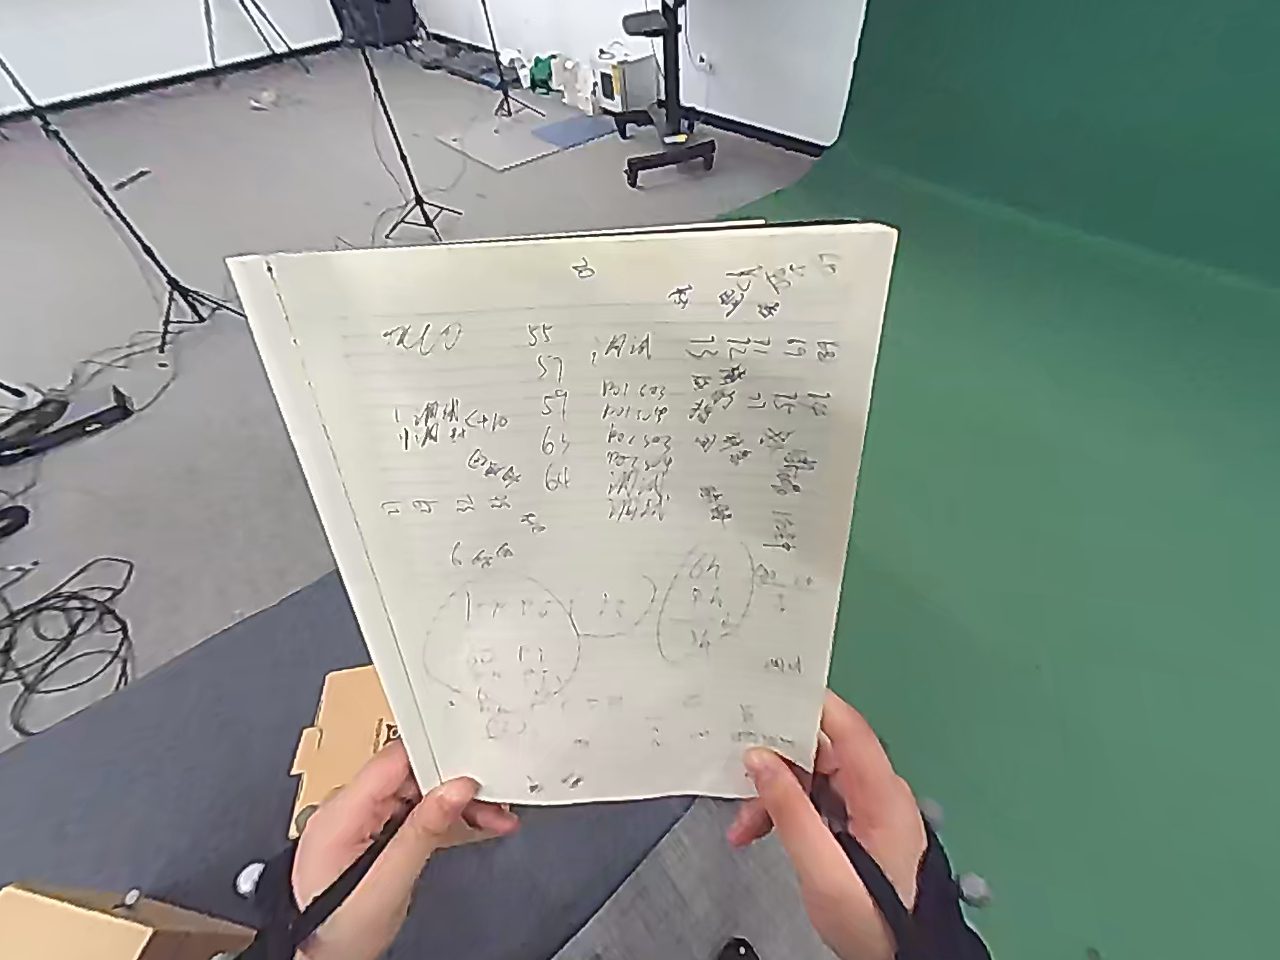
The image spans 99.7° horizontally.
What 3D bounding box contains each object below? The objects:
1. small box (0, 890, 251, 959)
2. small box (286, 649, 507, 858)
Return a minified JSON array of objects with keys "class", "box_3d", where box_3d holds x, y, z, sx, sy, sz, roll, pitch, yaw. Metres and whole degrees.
[{"class":"small box","box_3d":[-0.521,0.502,0.498,0.179,0.176,0.168,6,50,10]},{"class":"small box","box_3d":[-0.259,0.321,0.631,0.179,0.176,0.168,-10,49,-2]}]
